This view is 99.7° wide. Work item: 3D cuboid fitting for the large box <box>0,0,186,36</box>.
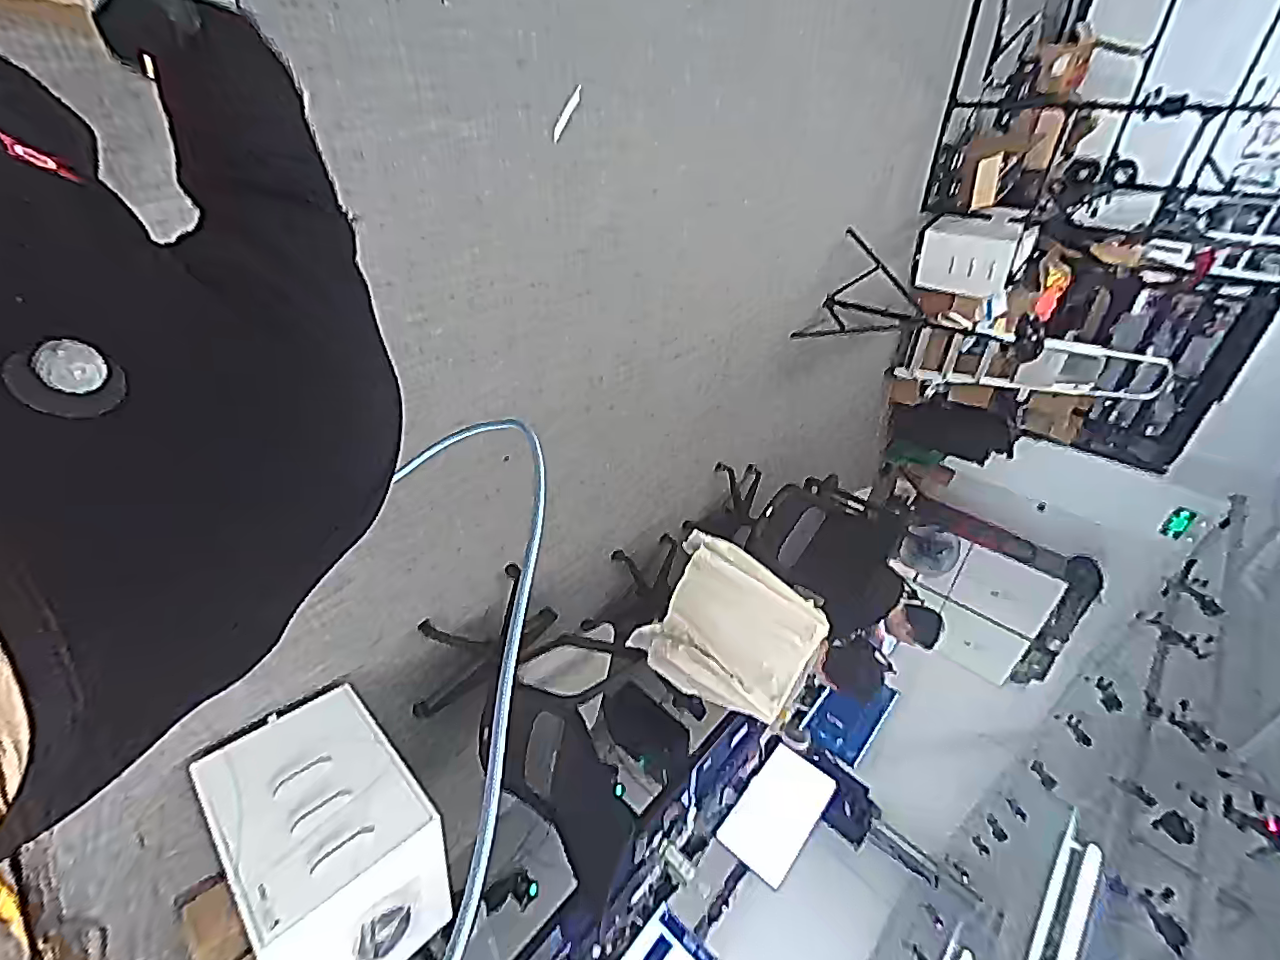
[{"bbox_3d":[-0.850,-0.727,0.611,0.408,0.320,0.320,-29,133,-39],"label":"large box"}]
